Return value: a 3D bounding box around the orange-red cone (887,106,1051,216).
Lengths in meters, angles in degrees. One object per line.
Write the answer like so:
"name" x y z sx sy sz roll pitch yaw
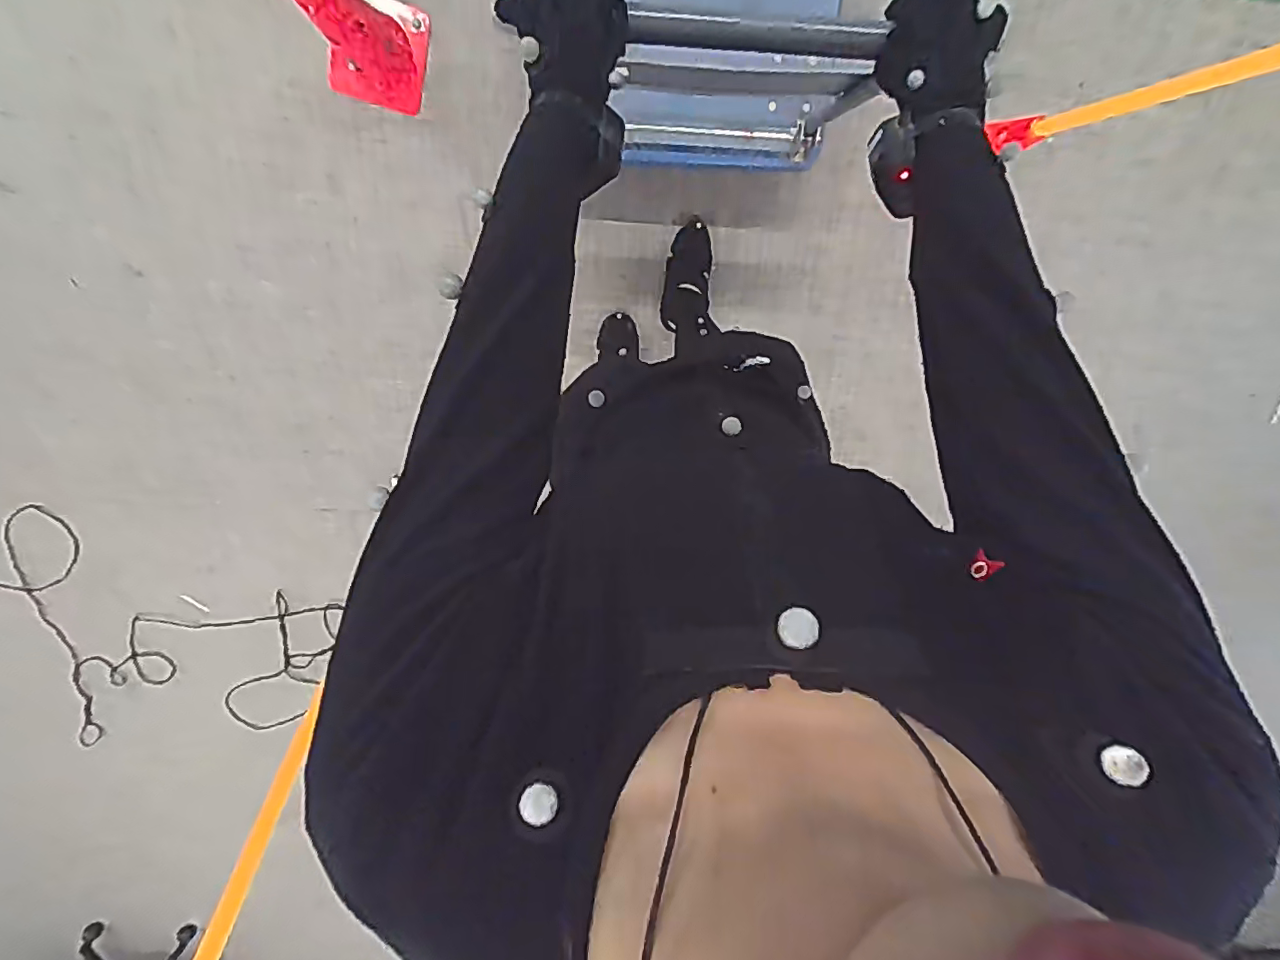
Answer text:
"orange-red cone" 0.705 -0.685 1.114 0.198 0.360 0.199 14 111 -6
